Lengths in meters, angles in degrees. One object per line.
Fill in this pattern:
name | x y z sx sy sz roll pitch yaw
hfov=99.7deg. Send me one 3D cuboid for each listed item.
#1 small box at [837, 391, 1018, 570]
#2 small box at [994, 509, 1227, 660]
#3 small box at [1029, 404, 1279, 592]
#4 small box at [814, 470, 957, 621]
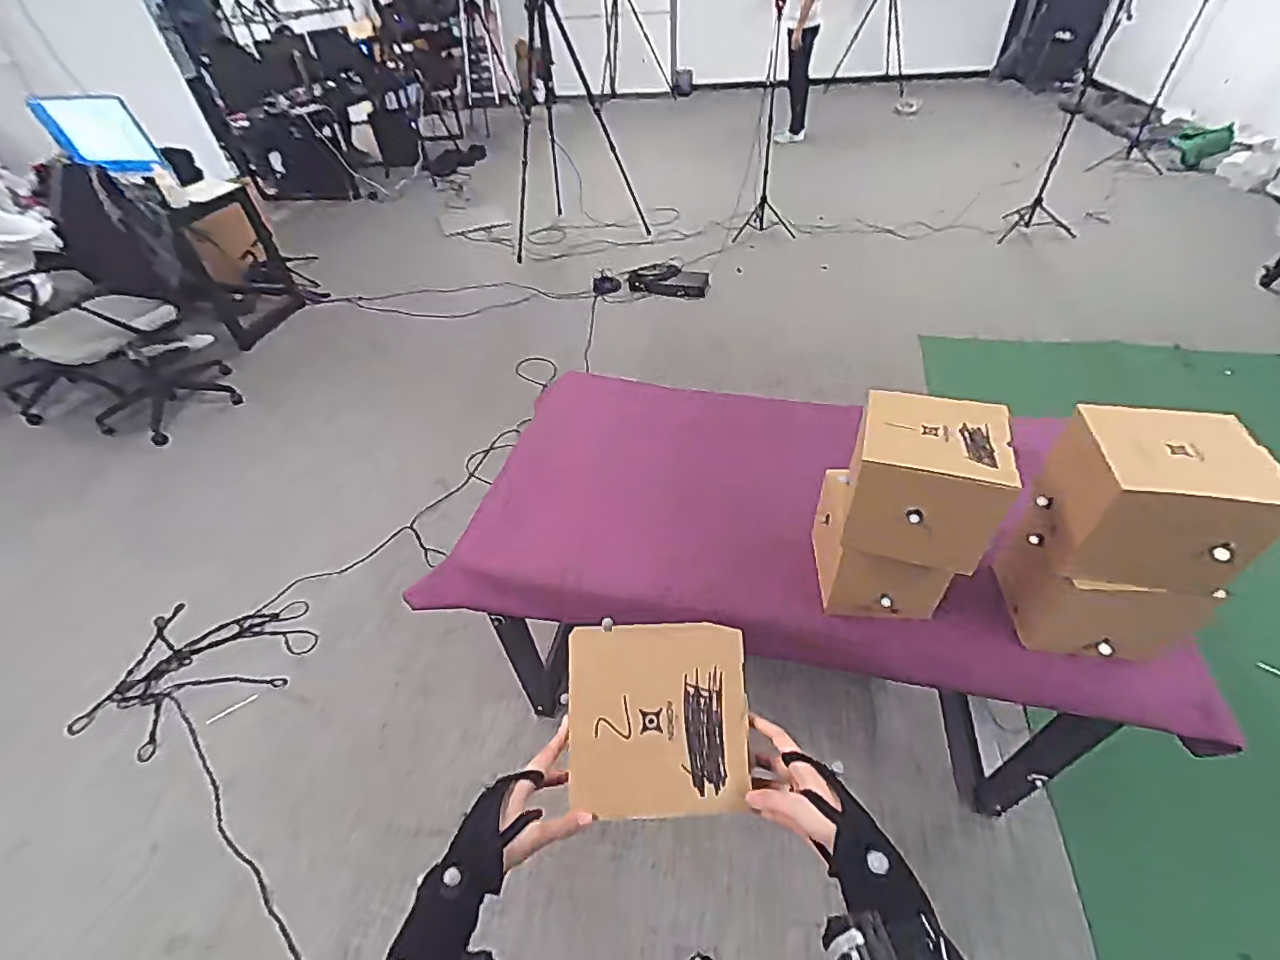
small box | 0.384 0.002 0.745 0.179 0.176 0.168 11 45 19
small box | 0.669 0.148 0.799 0.179 0.176 0.168 3 44 10
small box | 0.646 0.024 0.694 0.179 0.176 0.168 7 45 14
small box | 0.384 0.103 0.876 0.168 0.176 0.179 1 43 8
